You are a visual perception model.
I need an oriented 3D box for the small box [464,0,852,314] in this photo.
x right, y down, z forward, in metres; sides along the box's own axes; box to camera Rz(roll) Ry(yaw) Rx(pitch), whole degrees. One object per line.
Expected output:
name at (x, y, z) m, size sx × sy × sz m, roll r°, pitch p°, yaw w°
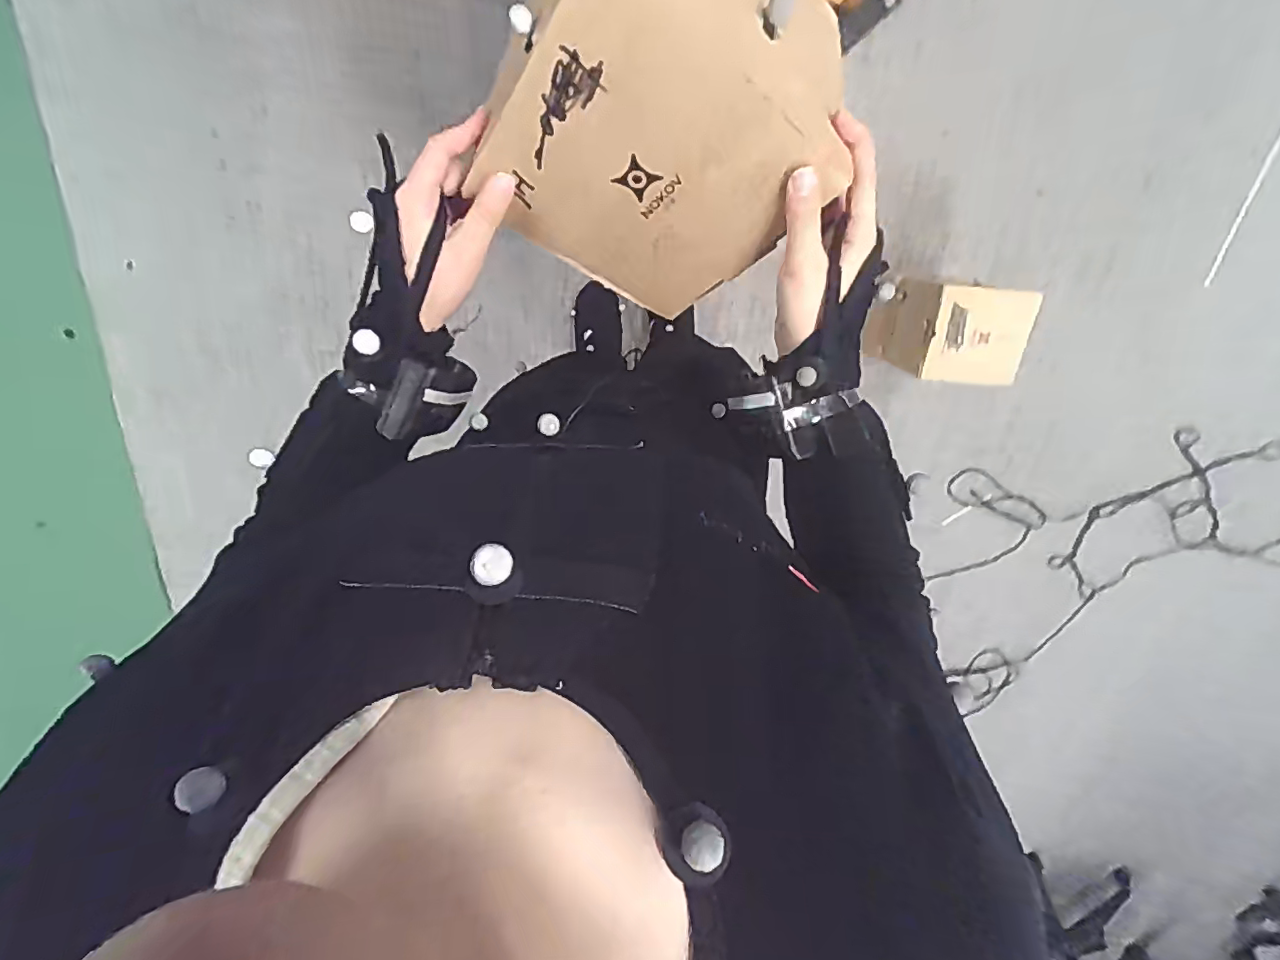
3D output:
small box at (0.012, -0.249, 0.352) m, size 0.179 × 0.176 × 0.168 m, roll 20°, pitch 152°, yaw -32°

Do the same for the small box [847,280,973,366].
small box at (0.580, -0.343, 1.179) m, size 0.179 × 0.176 × 0.168 m, roll 3°, pitch 113°, yaw -1°

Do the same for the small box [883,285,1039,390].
small box at (0.593, -0.276, 1.029) m, size 0.179 × 0.176 × 0.168 m, roll 3°, pitch 114°, yaw -3°
